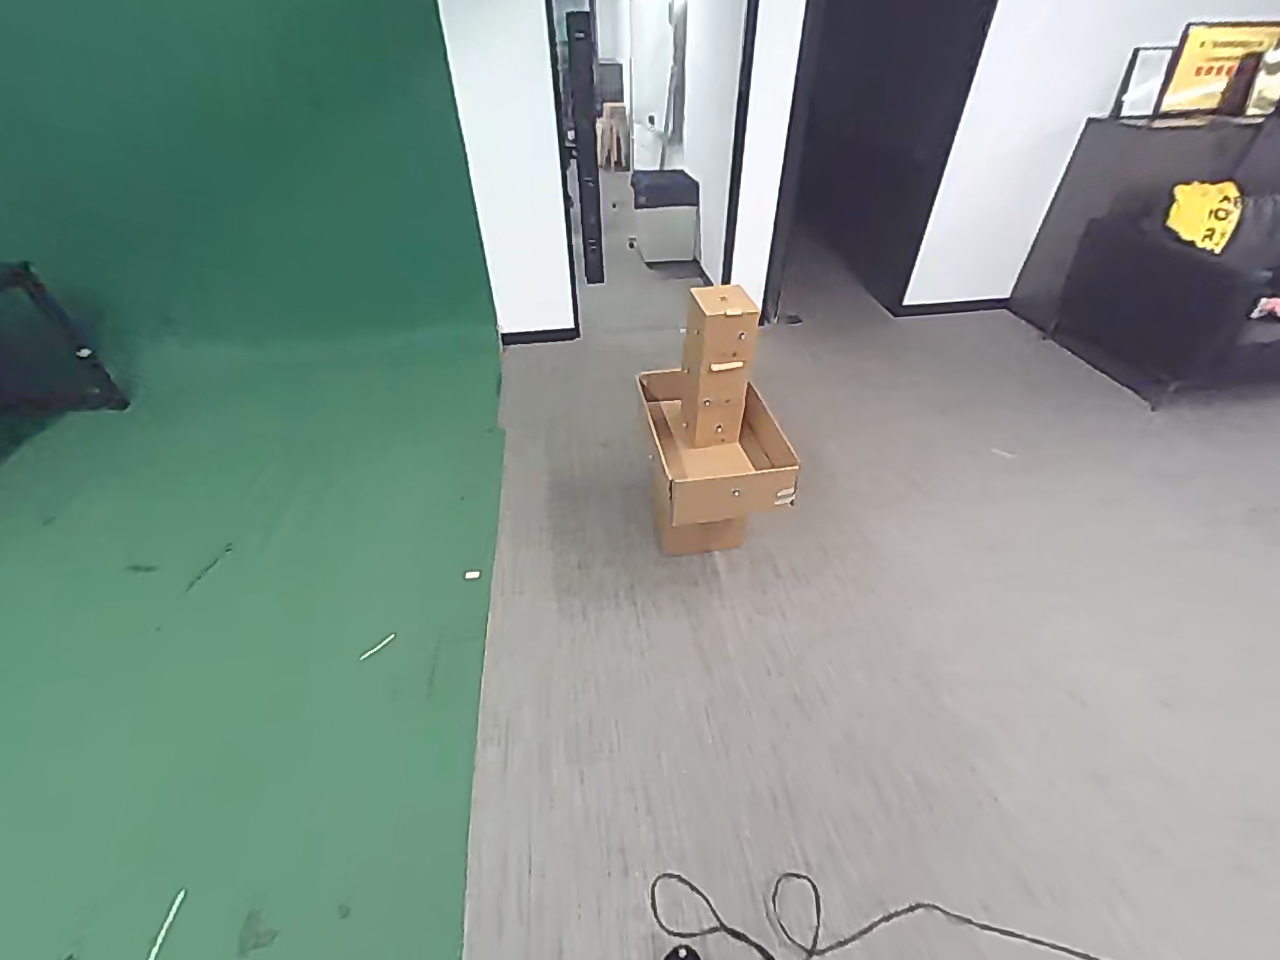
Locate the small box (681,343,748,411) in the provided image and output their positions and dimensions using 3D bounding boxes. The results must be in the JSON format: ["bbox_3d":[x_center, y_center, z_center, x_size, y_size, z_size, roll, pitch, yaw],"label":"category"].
[{"bbox_3d":[0.235,-0.337,1.749,0.168,0.176,0.179,-10,44,-11],"label":"small box"}]

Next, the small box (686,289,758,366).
[{"bbox_3d":[0.243,-0.457,1.639,0.168,0.176,0.179,-7,44,-9],"label":"small box"}]
